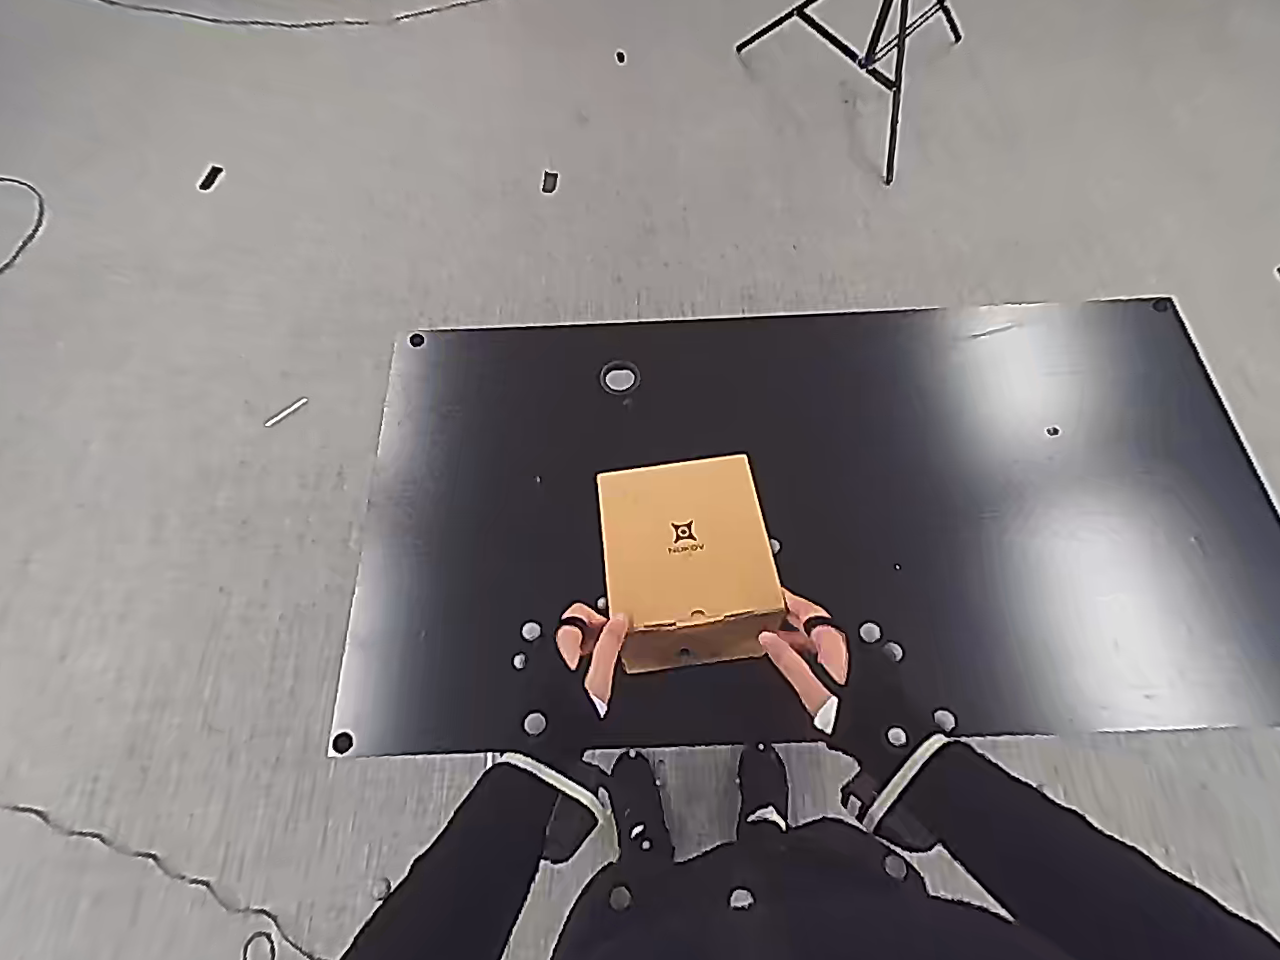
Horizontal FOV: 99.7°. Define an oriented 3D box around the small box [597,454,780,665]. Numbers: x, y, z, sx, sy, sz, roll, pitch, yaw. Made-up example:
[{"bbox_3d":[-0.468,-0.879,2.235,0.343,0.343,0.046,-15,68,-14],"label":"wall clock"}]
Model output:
[{"bbox_3d":[0.046,0.095,0.613,0.168,0.176,0.179,-8,59,0],"label":"small box"}]
